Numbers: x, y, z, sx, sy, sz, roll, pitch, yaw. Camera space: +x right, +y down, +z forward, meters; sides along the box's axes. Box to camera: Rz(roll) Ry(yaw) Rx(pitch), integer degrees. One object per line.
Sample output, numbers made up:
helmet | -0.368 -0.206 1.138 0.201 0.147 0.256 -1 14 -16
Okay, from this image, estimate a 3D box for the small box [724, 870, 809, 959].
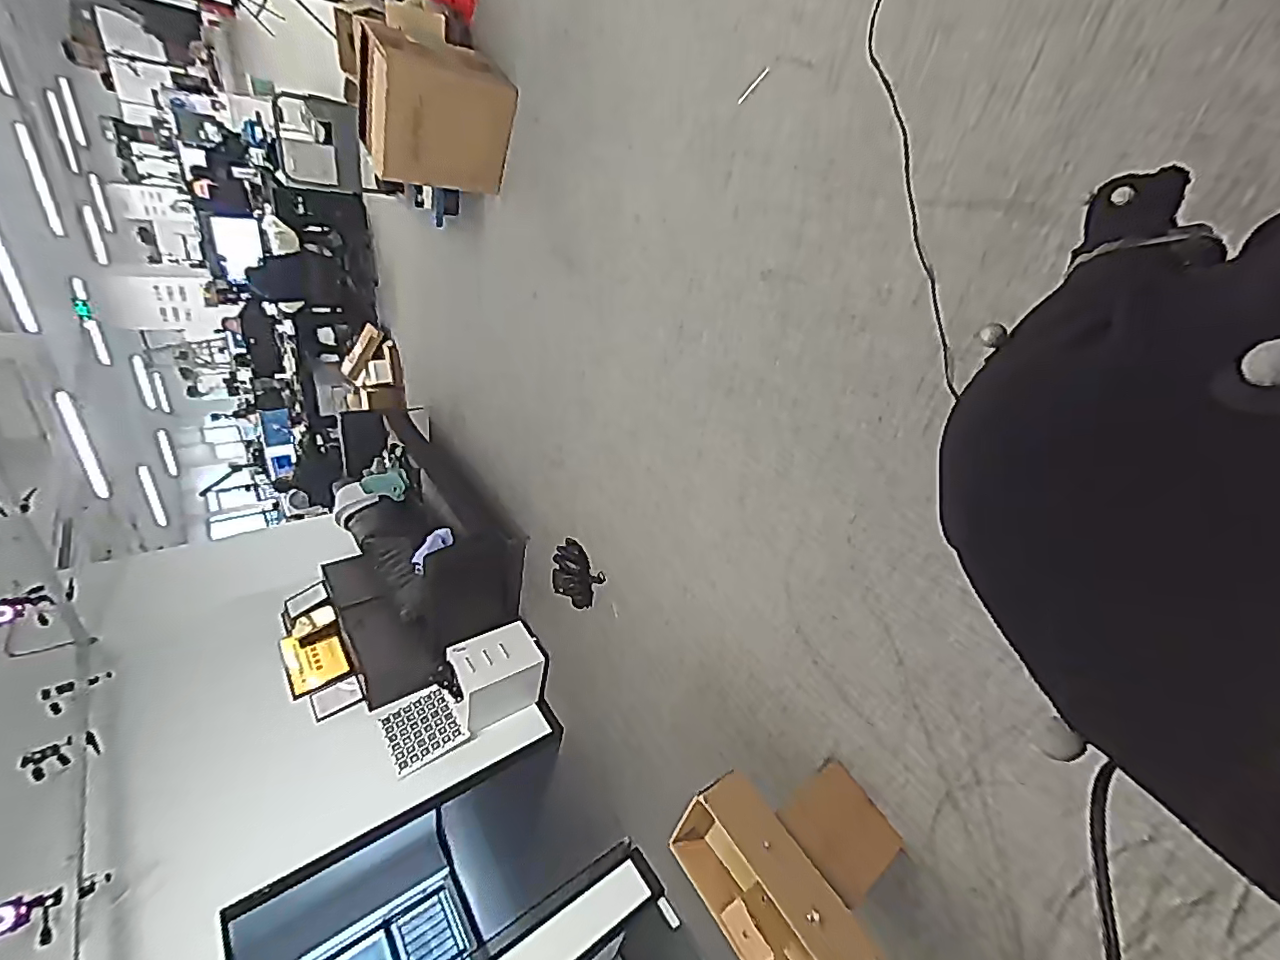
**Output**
small box | 0.395 1.361 1.677 0.168 0.176 0.179 48 139 36
